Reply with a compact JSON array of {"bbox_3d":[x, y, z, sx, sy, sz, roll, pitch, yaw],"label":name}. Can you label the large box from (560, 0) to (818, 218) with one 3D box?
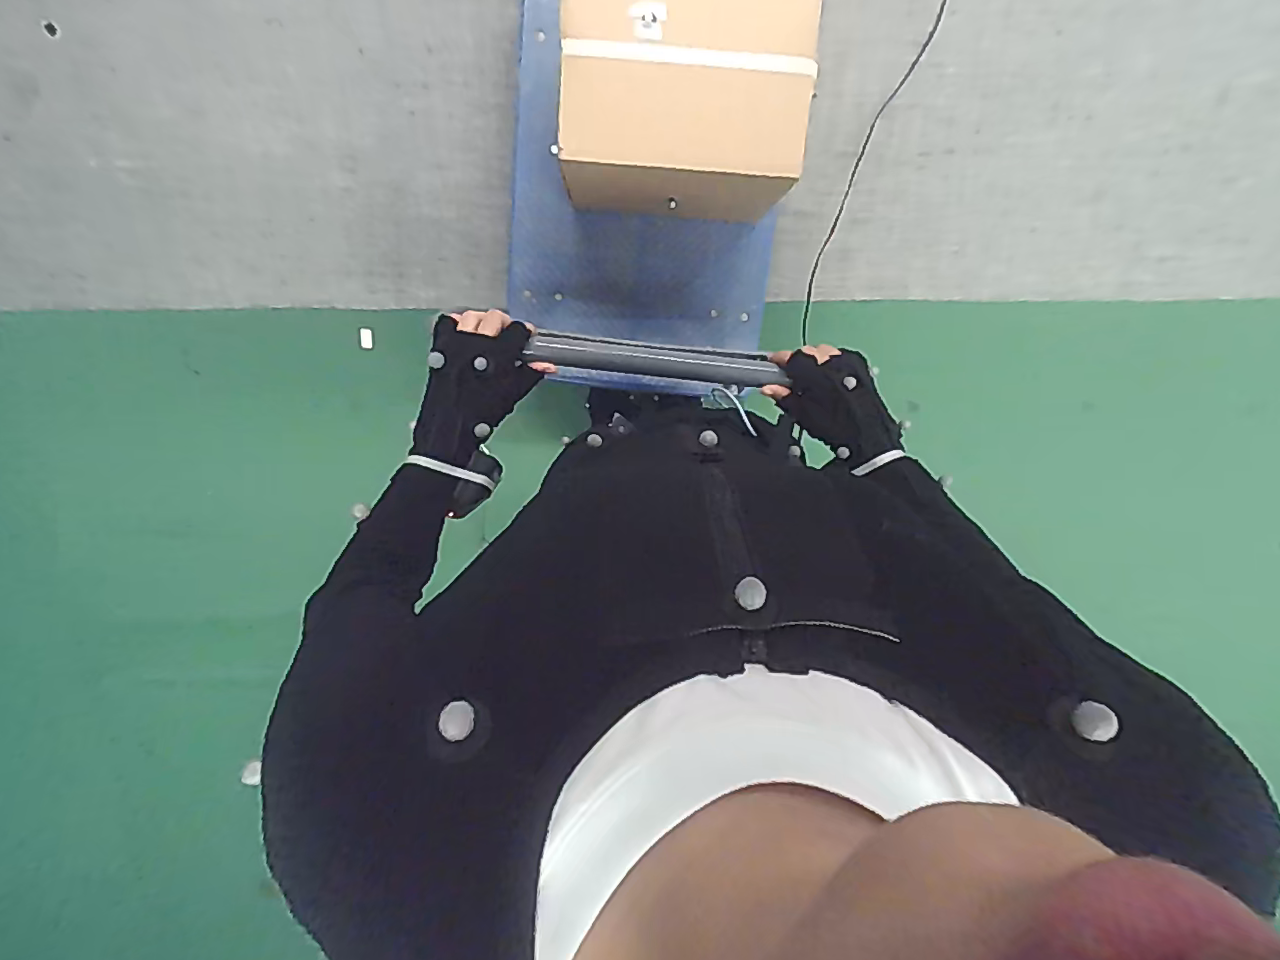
[{"bbox_3d":[0.074,-0.695,1.003,0.408,0.320,0.320,3,102,-2],"label":"large box"}]
